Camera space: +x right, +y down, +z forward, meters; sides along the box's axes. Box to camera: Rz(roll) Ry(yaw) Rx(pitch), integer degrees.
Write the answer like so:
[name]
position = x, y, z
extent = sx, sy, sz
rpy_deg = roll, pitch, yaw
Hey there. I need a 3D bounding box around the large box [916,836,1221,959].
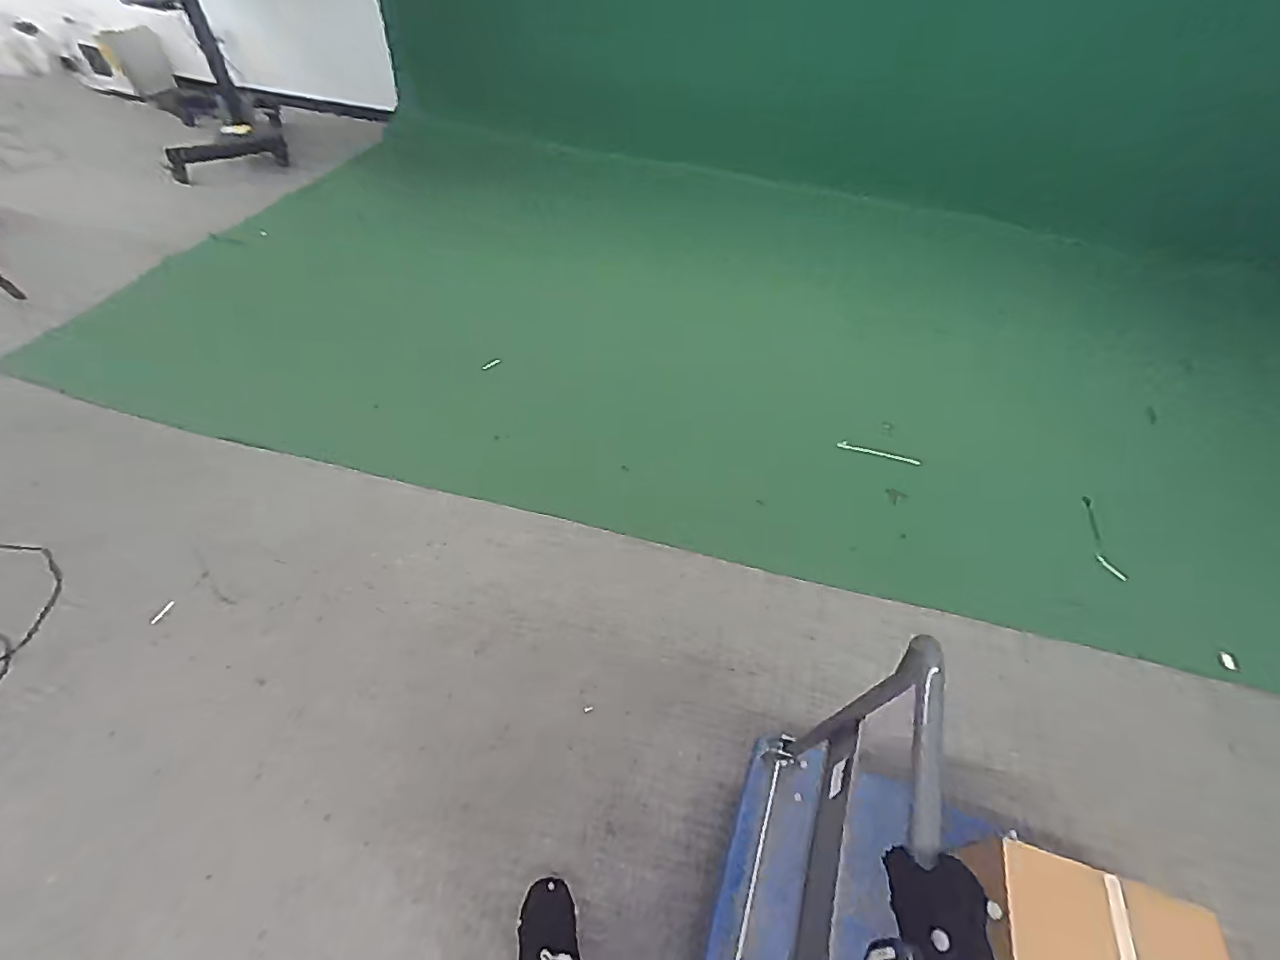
[large box]
position = 0.648, 0.851, 0.830
extent = 0.320, 0.320, 0.408
rpy_deg = 17, 49, 9
